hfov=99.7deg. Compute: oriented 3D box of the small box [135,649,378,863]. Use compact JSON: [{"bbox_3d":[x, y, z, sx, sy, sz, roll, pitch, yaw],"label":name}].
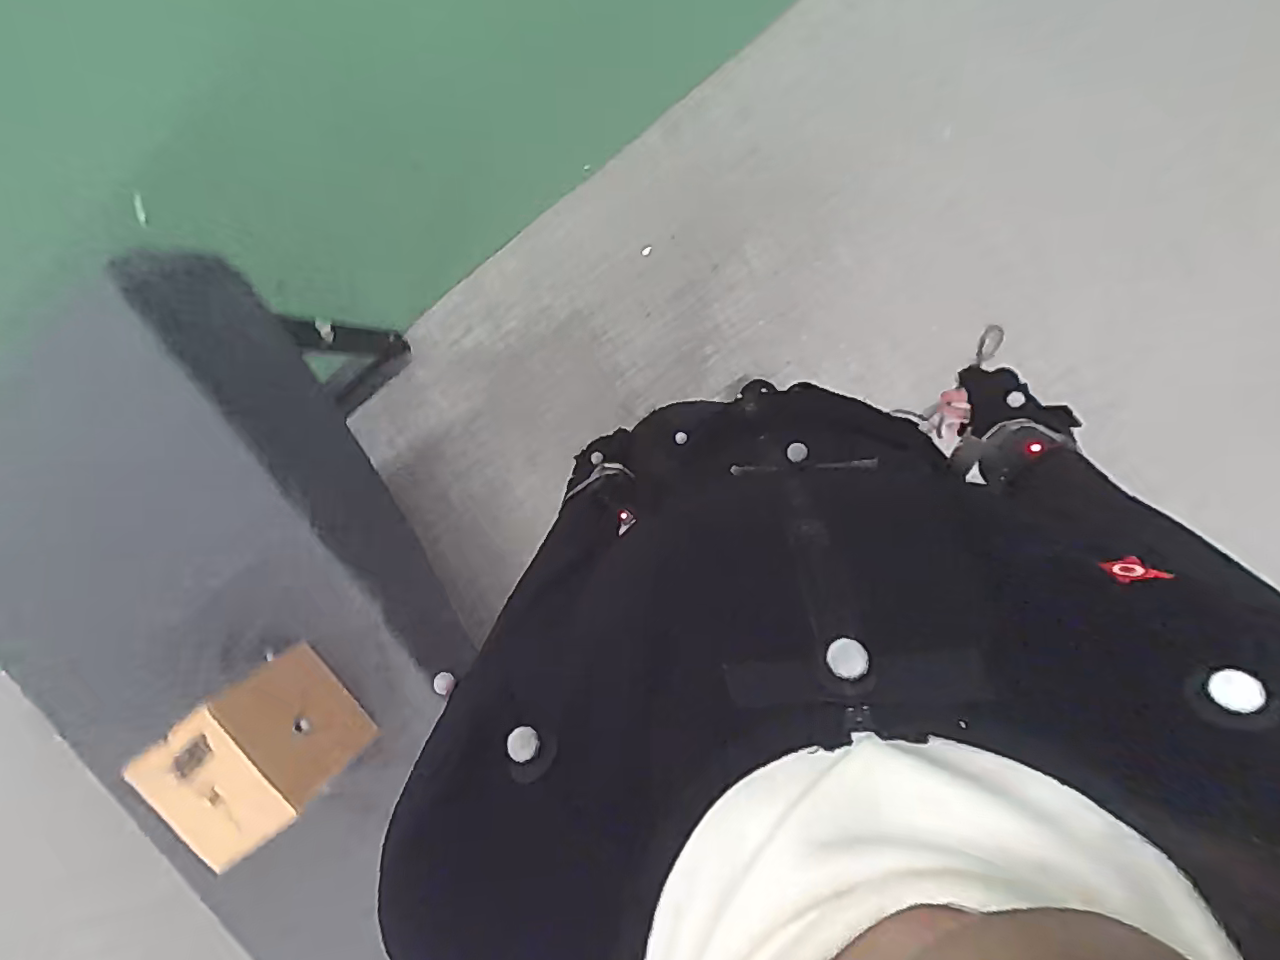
[{"bbox_3d":[-0.513,0.360,0.747,0.168,0.176,0.179,-40,92,12],"label":"small box"}]
